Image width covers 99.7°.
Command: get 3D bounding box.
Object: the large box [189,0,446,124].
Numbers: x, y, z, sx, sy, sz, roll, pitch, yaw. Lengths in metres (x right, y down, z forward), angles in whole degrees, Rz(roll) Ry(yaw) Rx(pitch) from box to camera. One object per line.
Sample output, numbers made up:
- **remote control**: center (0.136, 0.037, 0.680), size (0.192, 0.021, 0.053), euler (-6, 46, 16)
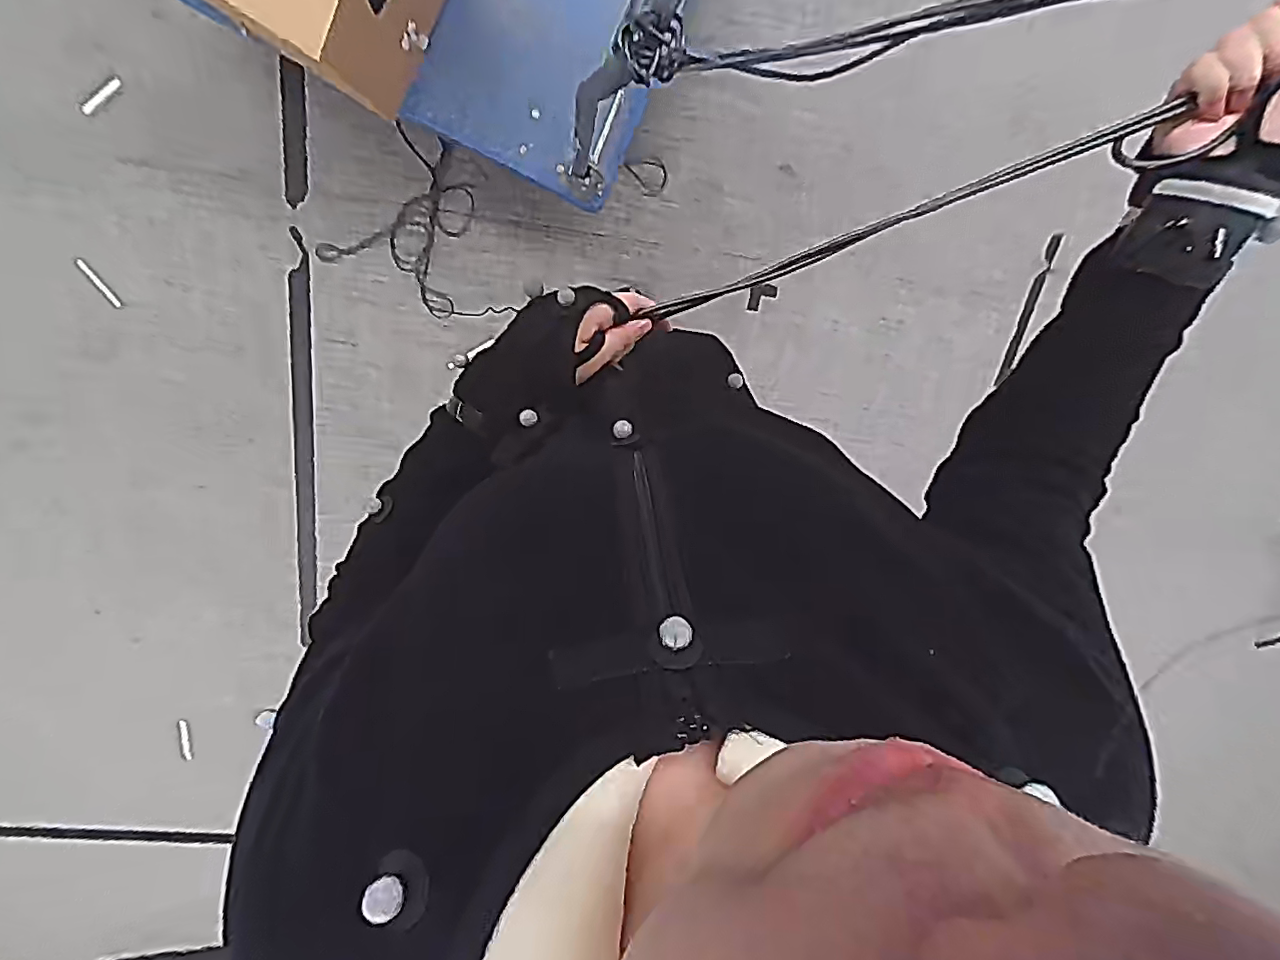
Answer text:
- **large box**: center (-0.558, -0.850, 0.834), size (0.408, 0.320, 0.320), euler (28, 104, -13)
